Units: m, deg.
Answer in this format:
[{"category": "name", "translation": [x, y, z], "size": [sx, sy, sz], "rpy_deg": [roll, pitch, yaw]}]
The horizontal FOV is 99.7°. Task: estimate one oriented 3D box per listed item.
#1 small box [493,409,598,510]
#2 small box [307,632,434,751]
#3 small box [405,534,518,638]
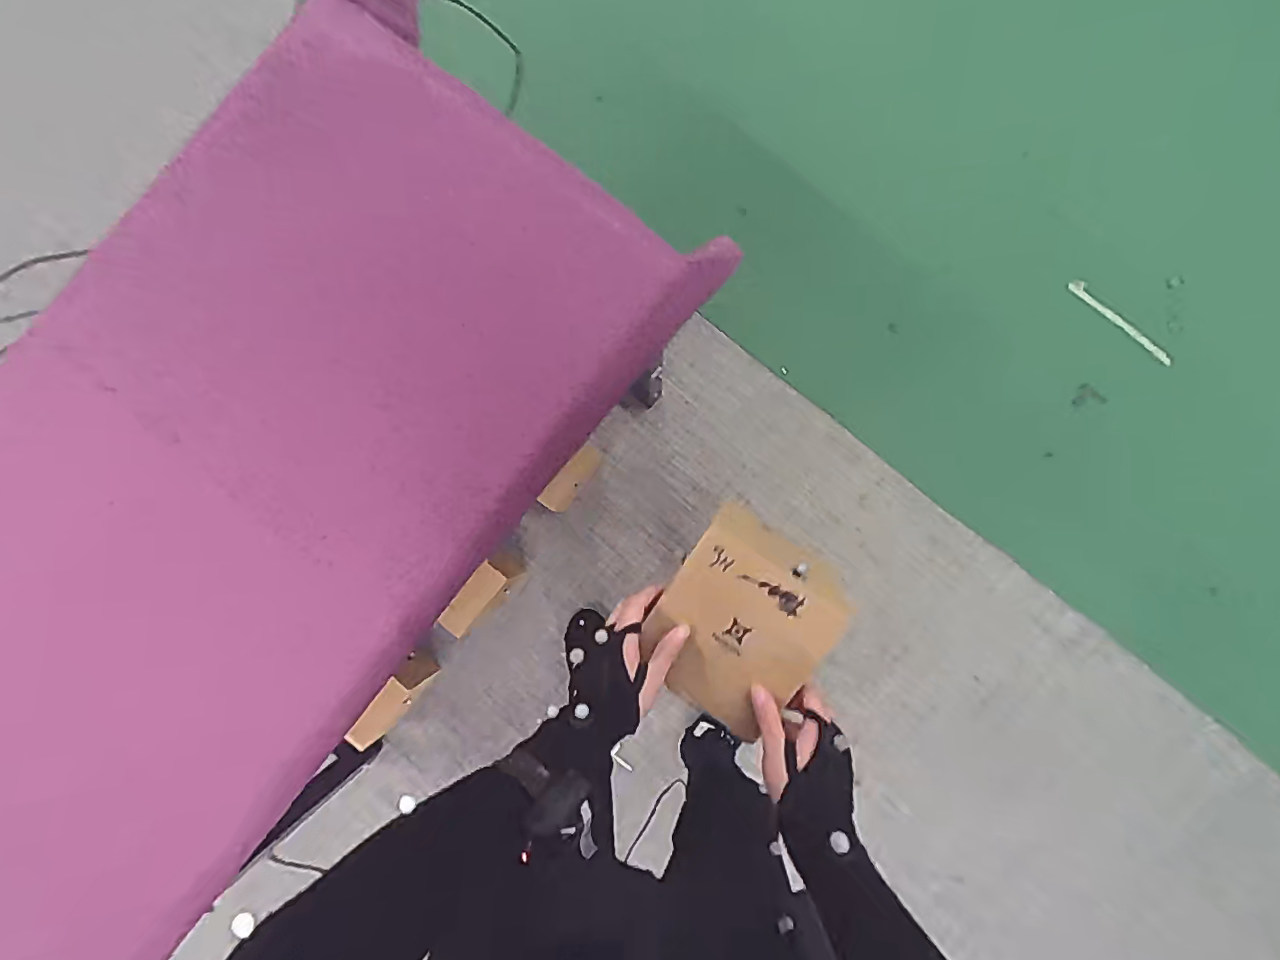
[{"category": "small box", "translation": [-0.215, -0.041, 1.295], "size": [0.168, 0.176, 0.179], "rpy_deg": [35, 88, 4]}, {"category": "small box", "translation": [-0.622, 0.487, 1.275], "size": [0.168, 0.176, 0.179], "rpy_deg": [38, 88, 4]}, {"category": "small box", "translation": [-0.410, 0.240, 1.284], "size": [0.168, 0.176, 0.179], "rpy_deg": [39, 89, 5]}]
